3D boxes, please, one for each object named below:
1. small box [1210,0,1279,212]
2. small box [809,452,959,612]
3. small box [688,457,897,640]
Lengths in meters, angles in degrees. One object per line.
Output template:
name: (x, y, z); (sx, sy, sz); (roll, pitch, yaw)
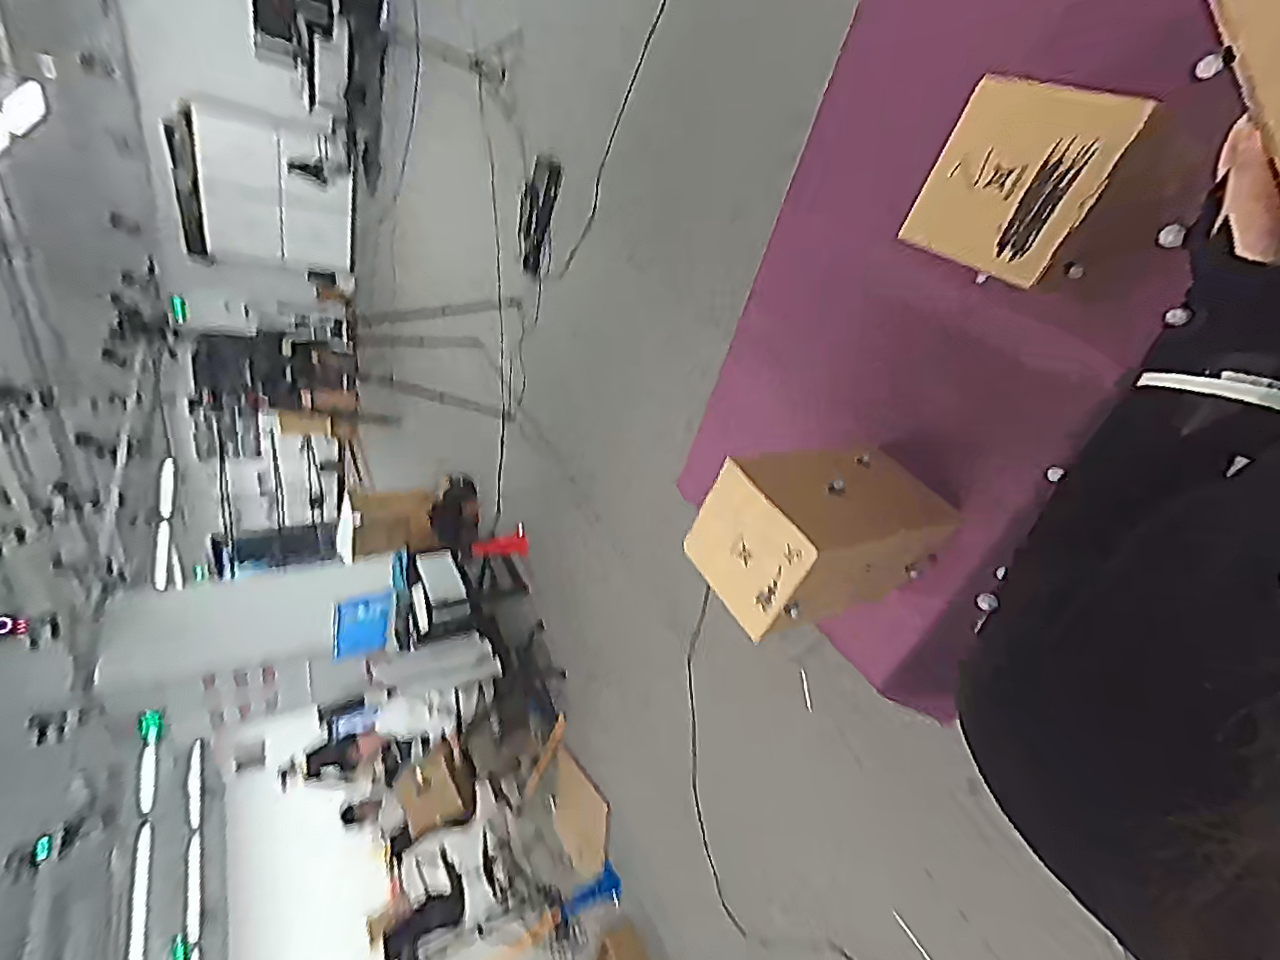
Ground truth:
small box: (0.403, -0.259, 0.259); (0.168, 0.176, 0.179); (-19, 97, 51)
small box: (0.335, 0.072, 0.828); (0.179, 0.176, 0.168); (52, 134, 37)
small box: (0.200, 0.083, 0.733); (0.179, 0.176, 0.168); (53, 135, 38)
